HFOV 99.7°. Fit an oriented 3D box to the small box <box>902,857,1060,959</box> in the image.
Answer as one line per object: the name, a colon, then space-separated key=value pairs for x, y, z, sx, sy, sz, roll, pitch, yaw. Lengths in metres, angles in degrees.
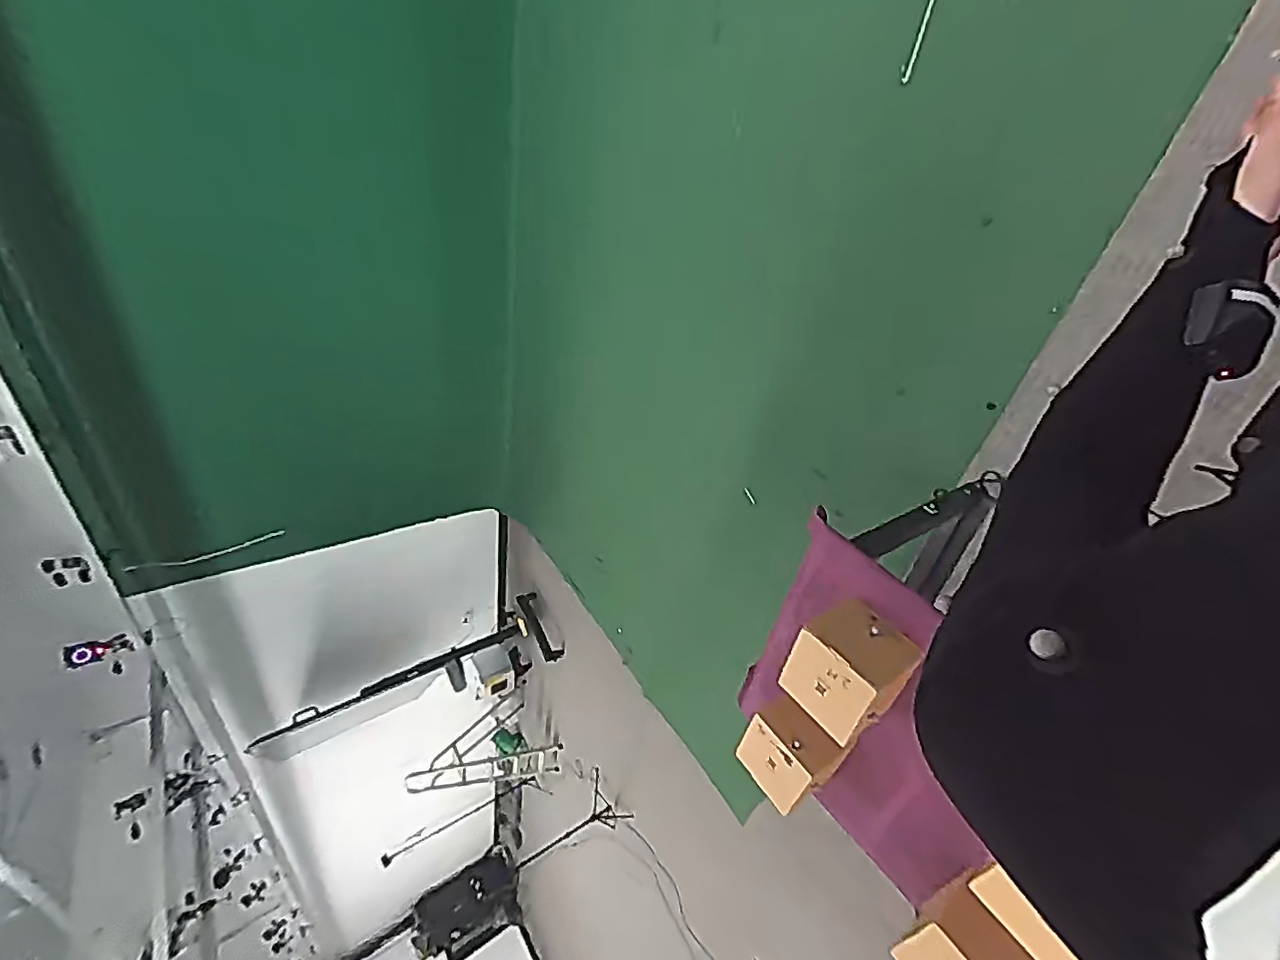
small box: x=0.633 y=0.850 z=0.996 sx=0.168 sy=0.176 sz=0.179 roll=44 pitch=135 yaw=35

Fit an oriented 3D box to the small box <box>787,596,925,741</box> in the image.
small box: x=0.426 y=0.366 z=1.071 sx=0.168 sy=0.176 sz=0.179 roll=40 pitch=134 yaw=37

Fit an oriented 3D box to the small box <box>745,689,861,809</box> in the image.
small box: x=0.376 y=0.608 z=1.252 sx=0.168 sy=0.176 sz=0.179 roll=42 pitch=135 yaw=36
